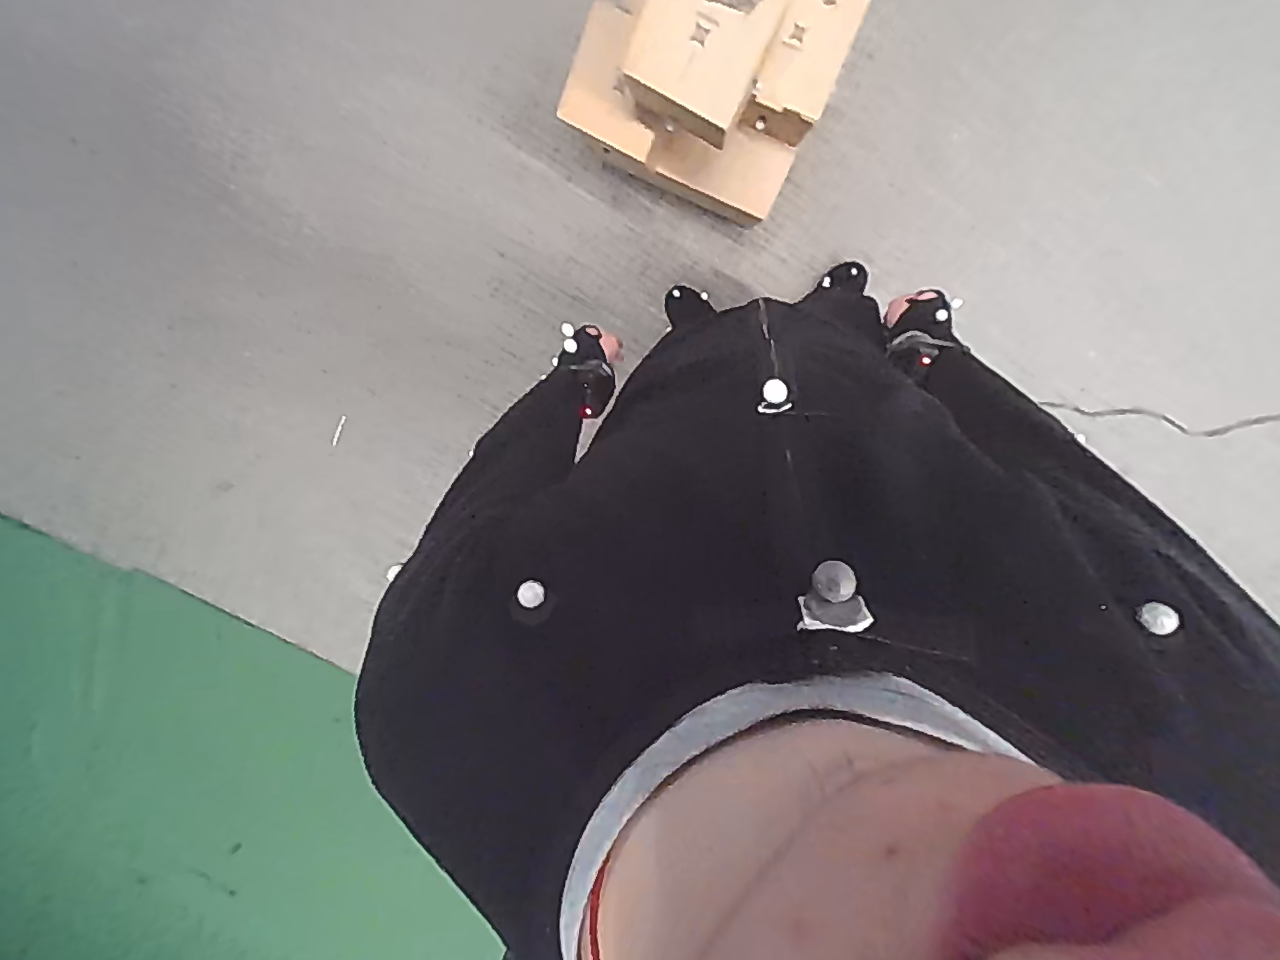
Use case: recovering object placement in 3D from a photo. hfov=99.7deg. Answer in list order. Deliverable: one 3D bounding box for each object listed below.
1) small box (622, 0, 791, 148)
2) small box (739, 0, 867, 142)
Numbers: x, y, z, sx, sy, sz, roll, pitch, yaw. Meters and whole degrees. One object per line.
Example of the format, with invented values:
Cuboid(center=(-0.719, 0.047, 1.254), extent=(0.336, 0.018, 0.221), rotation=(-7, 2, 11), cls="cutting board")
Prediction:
Cuboid(center=(0.091, -0.611, 0.769), extent=(0.168, 0.176, 0.179), rotation=(27, 114, -4), cls="small box")
Cuboid(center=(0.240, -0.696, 0.898), extent=(0.168, 0.176, 0.179), rotation=(22, 112, -3), cls="small box")
